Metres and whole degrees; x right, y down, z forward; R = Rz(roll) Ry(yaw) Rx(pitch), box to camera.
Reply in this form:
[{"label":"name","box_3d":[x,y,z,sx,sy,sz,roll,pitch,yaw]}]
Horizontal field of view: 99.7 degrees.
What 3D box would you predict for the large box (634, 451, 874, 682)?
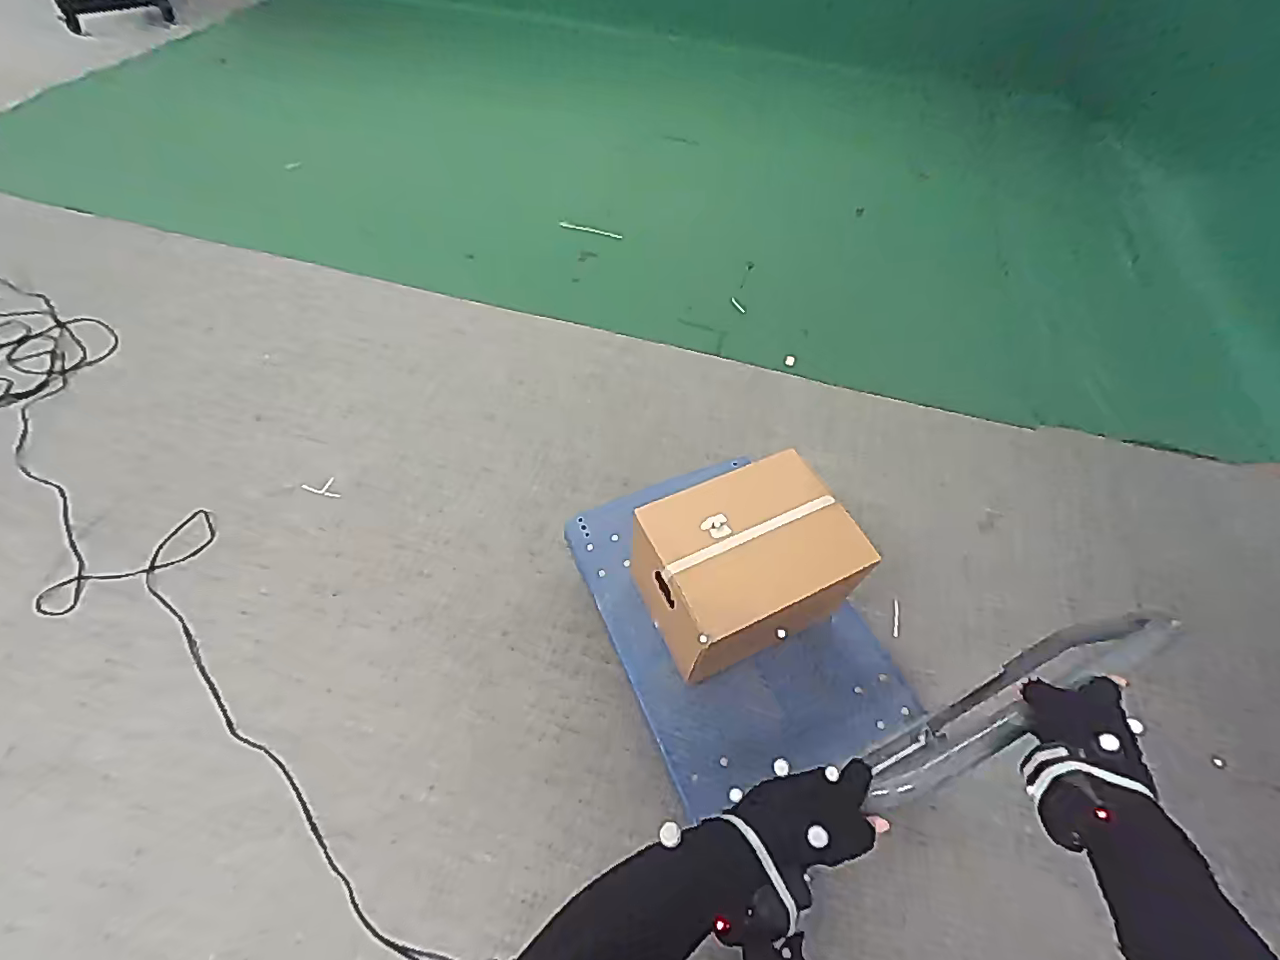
[{"label":"large box","box_3d":[0.231,0.199,1.231,0.408,0.320,0.320,-22,59,-16]}]
